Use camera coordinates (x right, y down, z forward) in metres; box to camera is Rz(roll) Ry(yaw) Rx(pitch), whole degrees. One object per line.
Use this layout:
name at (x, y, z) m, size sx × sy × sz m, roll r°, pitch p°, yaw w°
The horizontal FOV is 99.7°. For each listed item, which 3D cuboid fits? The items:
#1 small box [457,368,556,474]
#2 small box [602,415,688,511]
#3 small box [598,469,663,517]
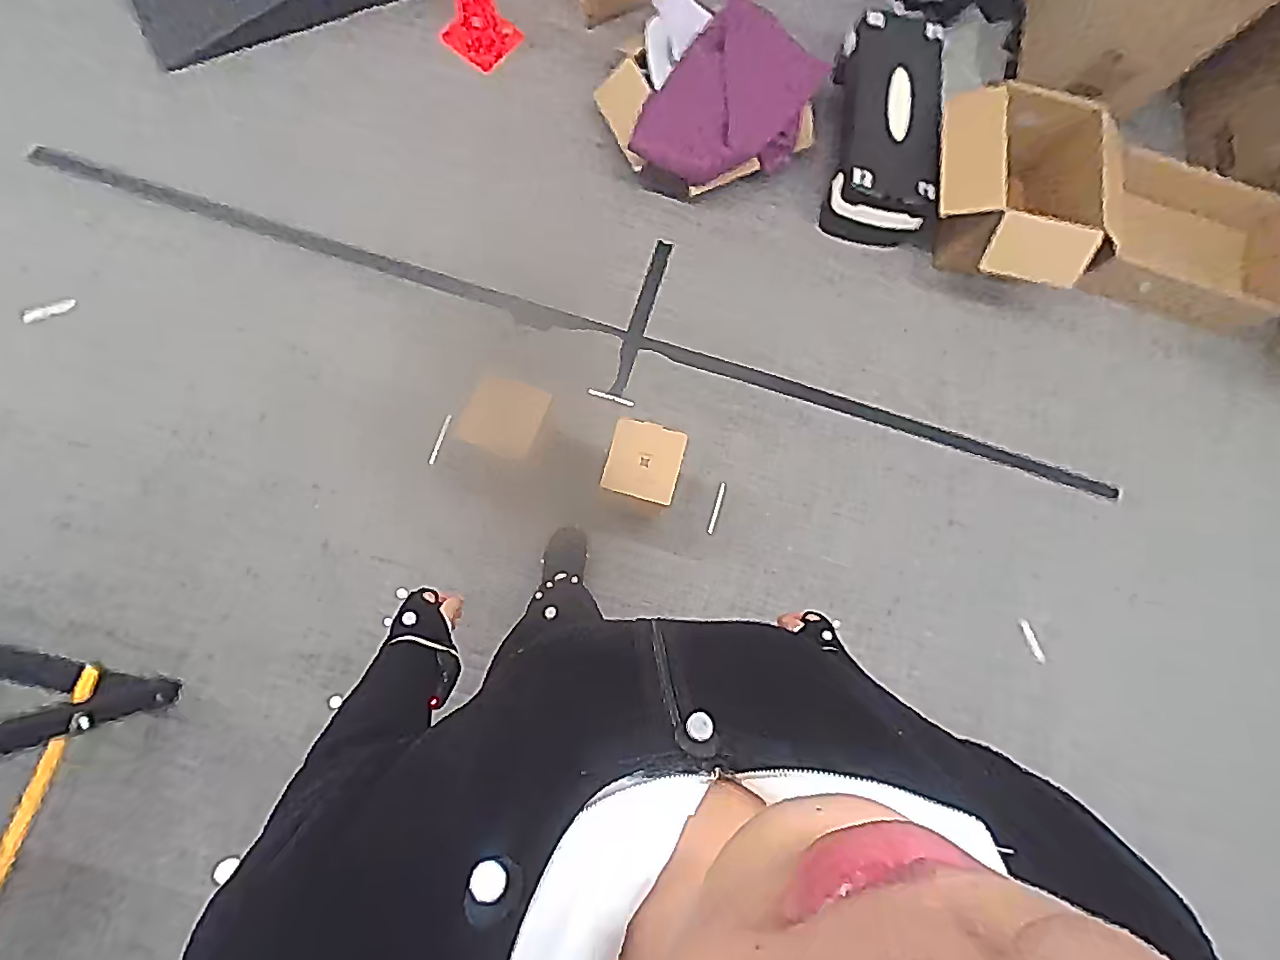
small box at (-0.307, -0.133, 1.282) m, size 0.168 × 0.176 × 0.179 m, roll 22°, pitch 79°, yaw -2°
small box at (0.006, -0.034, 1.304) m, size 0.168 × 0.176 × 0.179 m, roll 15°, pitch 81°, yaw -2°
small box at (-0.007, -0.005, 1.464) m, size 0.179 × 0.176 × 0.168 m, roll 20°, pitch 80°, yaw -3°
